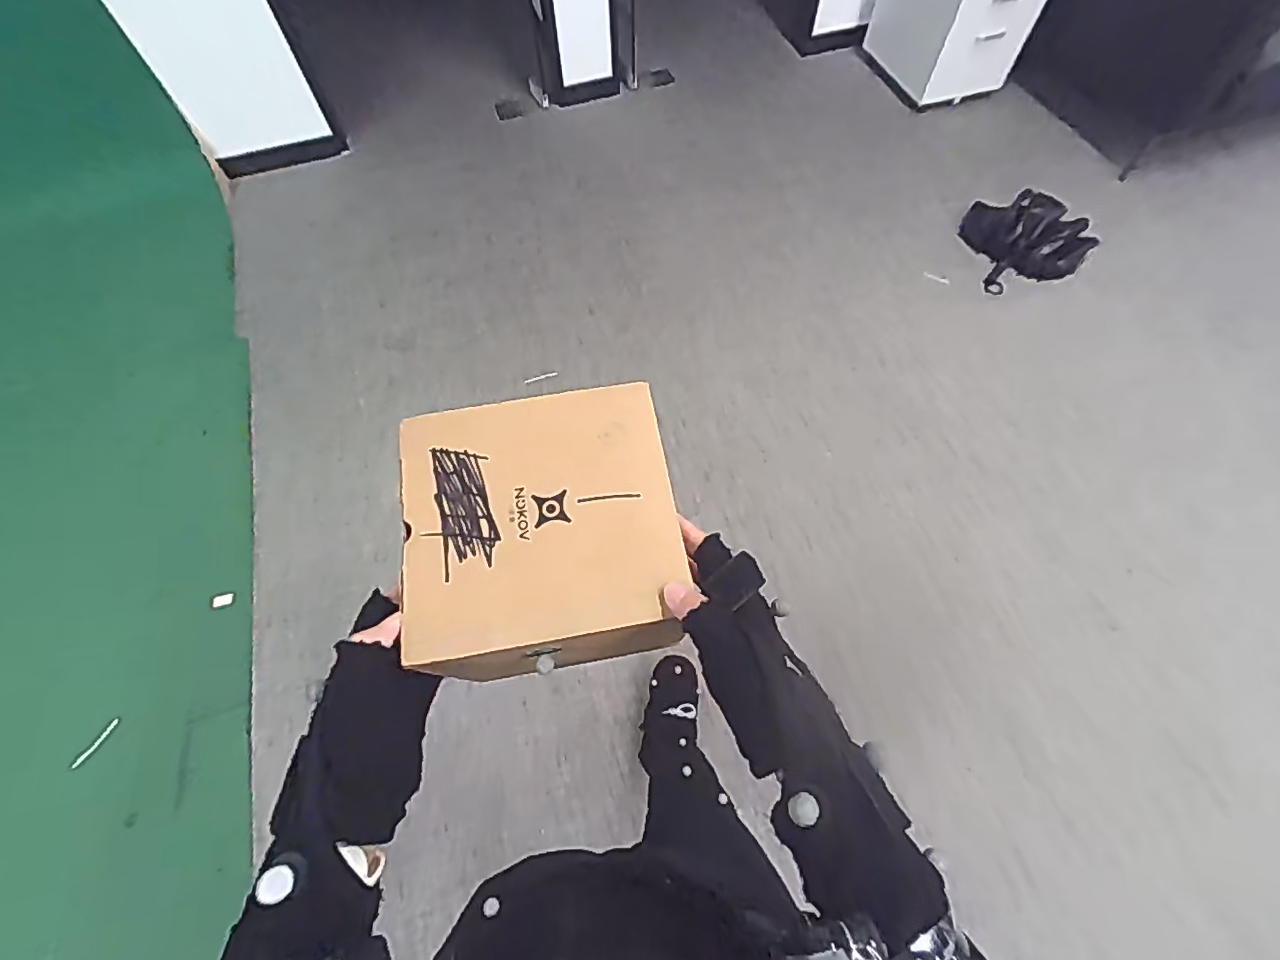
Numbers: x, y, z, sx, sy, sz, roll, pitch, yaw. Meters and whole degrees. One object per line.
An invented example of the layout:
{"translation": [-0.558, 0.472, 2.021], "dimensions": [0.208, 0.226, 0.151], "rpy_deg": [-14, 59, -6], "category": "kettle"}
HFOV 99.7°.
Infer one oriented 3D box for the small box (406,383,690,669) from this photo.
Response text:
{"translation": [-0.066, 0.048, 0.429], "dimensions": [0.179, 0.176, 0.168], "rpy_deg": [-9, 67, -5], "category": "small box"}
